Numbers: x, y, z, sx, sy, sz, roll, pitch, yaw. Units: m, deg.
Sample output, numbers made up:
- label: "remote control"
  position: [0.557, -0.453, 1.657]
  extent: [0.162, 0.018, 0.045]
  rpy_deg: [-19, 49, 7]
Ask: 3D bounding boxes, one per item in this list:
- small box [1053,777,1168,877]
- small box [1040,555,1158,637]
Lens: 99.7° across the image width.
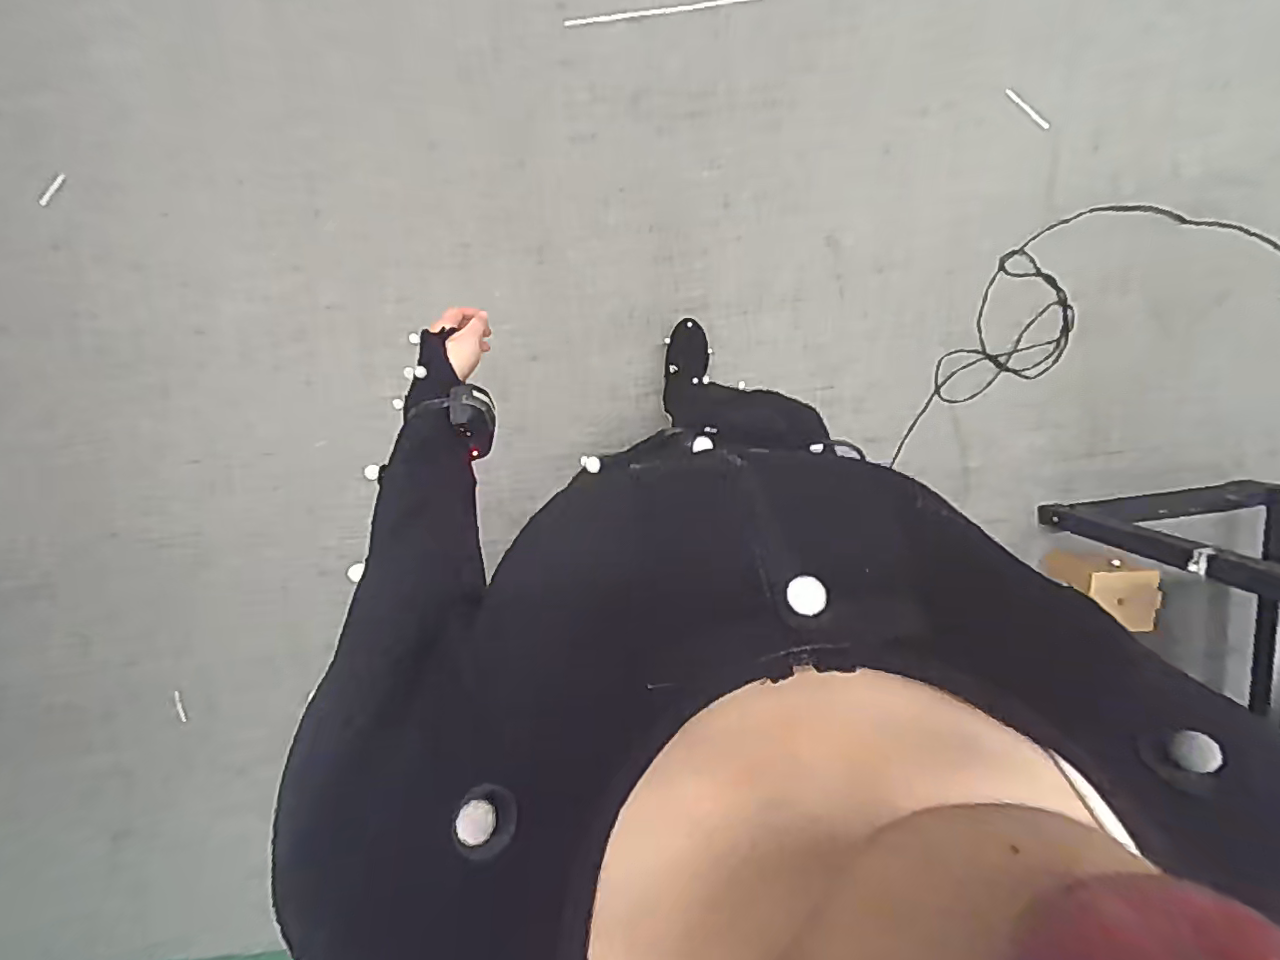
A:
- label: "small box"
  position: [1.340, 0.991, 1.554]
  extent: [0.168, 0.176, 0.179]
  rpy_deg: [6, 101, -1]
- label: "small box"
  position: [1.212, 0.305, 1.443]
  extent: [0.179, 0.176, 0.168]
  rpy_deg: [-3, 99, 0]
